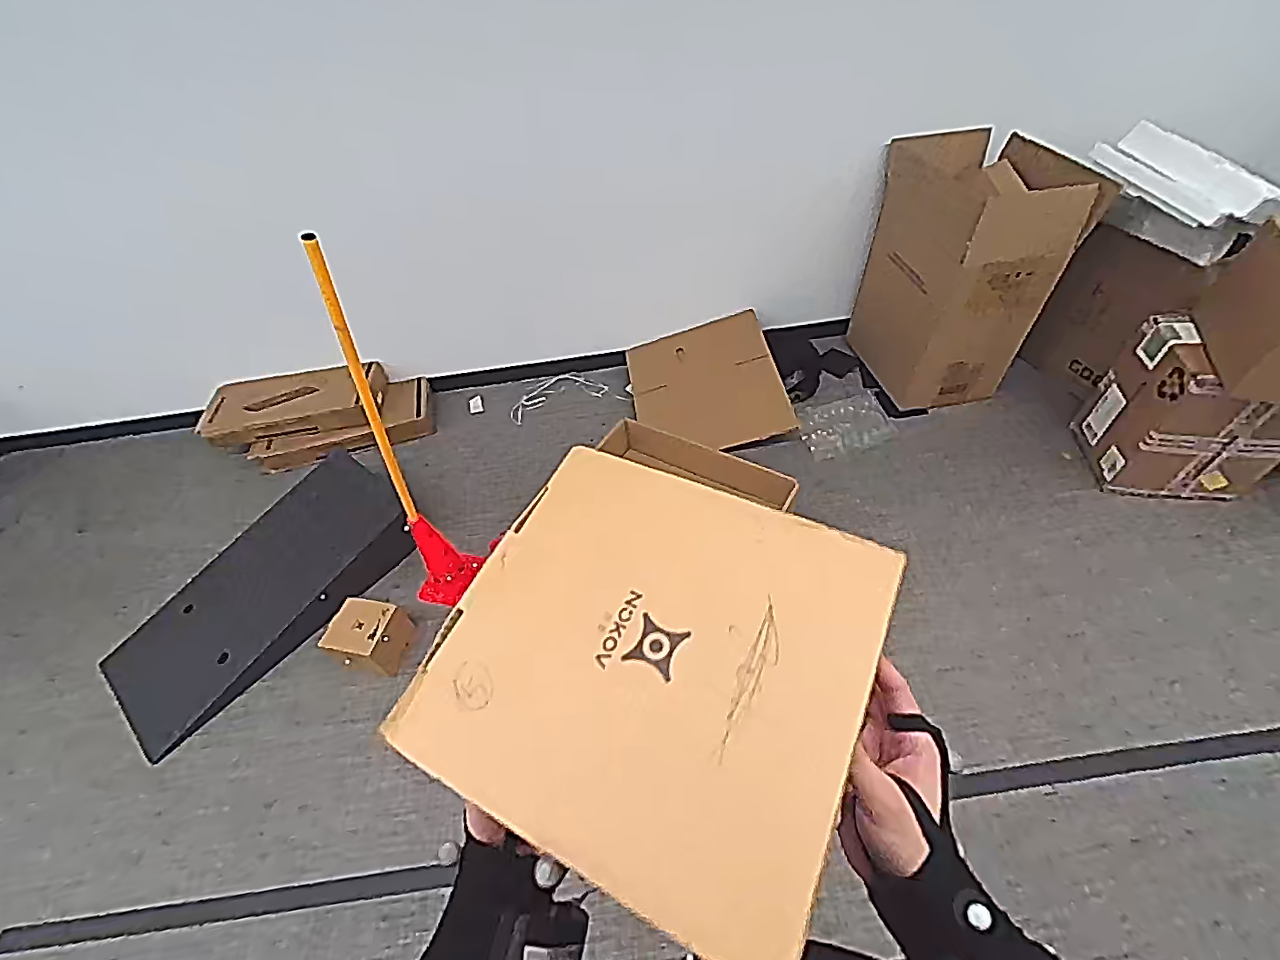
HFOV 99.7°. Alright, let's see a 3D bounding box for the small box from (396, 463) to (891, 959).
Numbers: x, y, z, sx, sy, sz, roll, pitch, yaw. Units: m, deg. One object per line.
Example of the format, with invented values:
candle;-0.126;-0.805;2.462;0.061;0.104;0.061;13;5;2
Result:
small box;0.014;0.122;0.306;0.179;0.176;0.168;19;60;20
